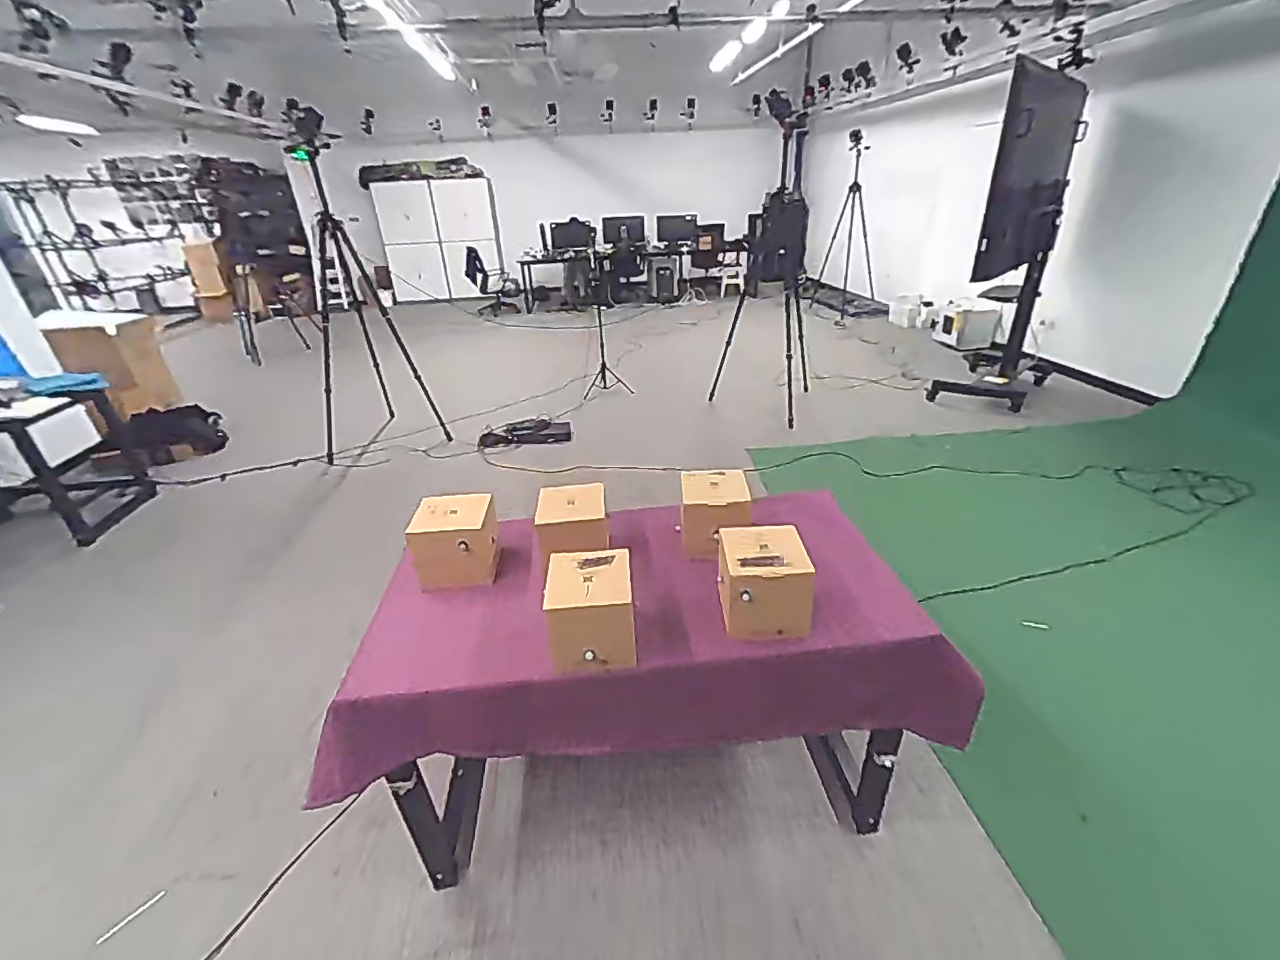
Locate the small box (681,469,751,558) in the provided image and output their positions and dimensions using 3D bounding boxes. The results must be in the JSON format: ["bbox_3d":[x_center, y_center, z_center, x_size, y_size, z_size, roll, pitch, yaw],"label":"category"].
[{"bbox_3d":[0.193,0.089,1.395,0.168,0.176,0.179,-2,29,3],"label":"small box"}]

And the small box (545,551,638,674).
[{"bbox_3d":[-0.093,0.265,1.099,0.168,0.176,0.179,-5,28,-1],"label":"small box"}]

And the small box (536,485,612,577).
[{"bbox_3d":[-0.160,0.131,1.365,0.168,0.176,0.179,-5,28,-2],"label":"small box"}]

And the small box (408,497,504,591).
[{"bbox_3d":[-0.446,0.158,1.344,0.179,0.176,0.168,-5,28,-2],"label":"small box"}]
